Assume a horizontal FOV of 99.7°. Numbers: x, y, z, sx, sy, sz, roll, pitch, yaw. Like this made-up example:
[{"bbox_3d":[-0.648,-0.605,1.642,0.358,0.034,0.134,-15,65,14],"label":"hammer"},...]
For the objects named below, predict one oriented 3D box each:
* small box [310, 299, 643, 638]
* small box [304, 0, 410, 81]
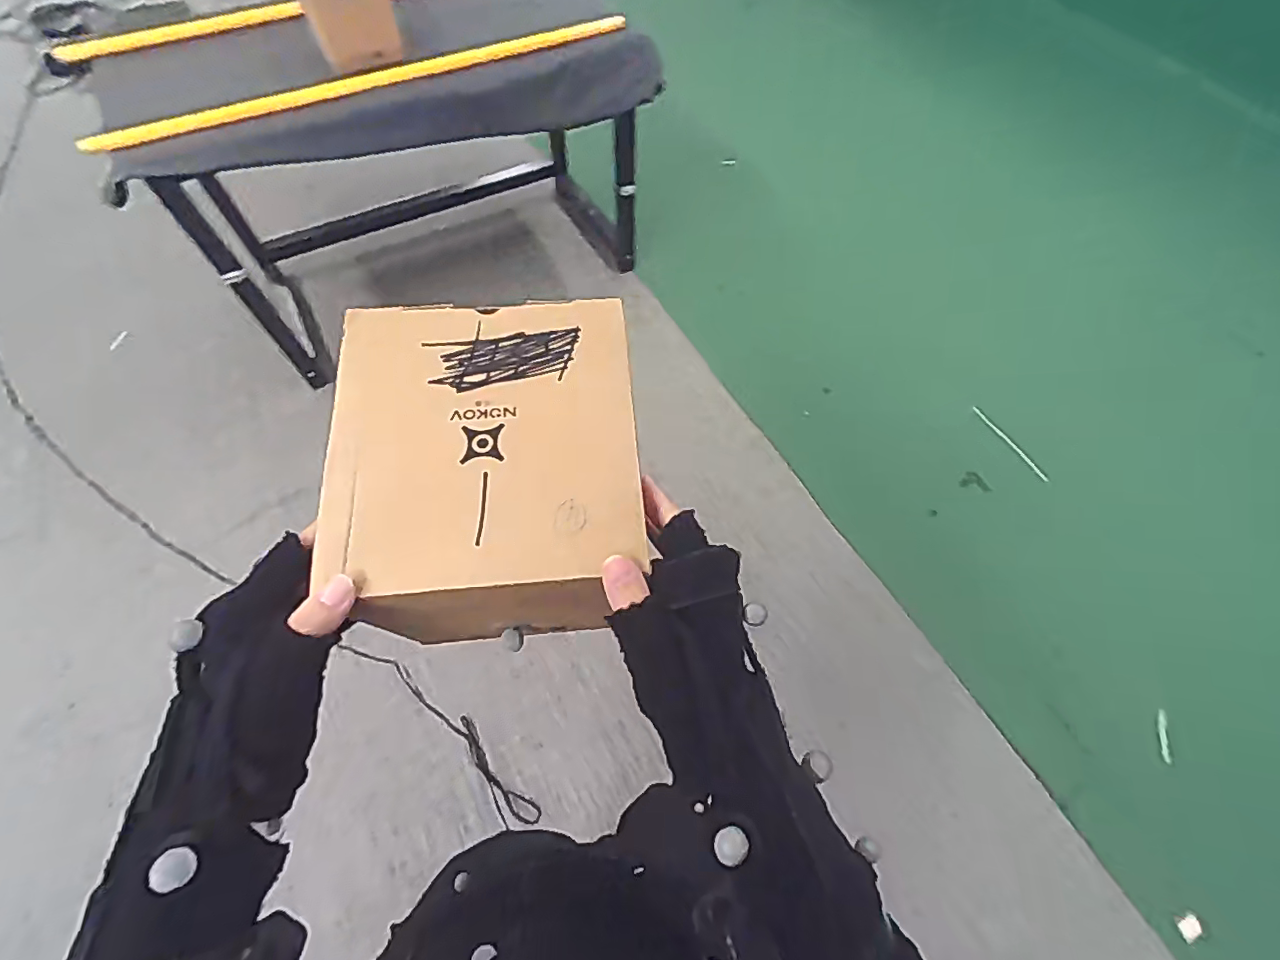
[{"bbox_3d":[-0.091,0.003,0.375,0.168,0.176,0.179,-5,67,-4],"label":"small box"},{"bbox_3d":[-0.661,-1.064,1.247,0.168,0.176,0.179,-28,64,-15],"label":"small box"}]
